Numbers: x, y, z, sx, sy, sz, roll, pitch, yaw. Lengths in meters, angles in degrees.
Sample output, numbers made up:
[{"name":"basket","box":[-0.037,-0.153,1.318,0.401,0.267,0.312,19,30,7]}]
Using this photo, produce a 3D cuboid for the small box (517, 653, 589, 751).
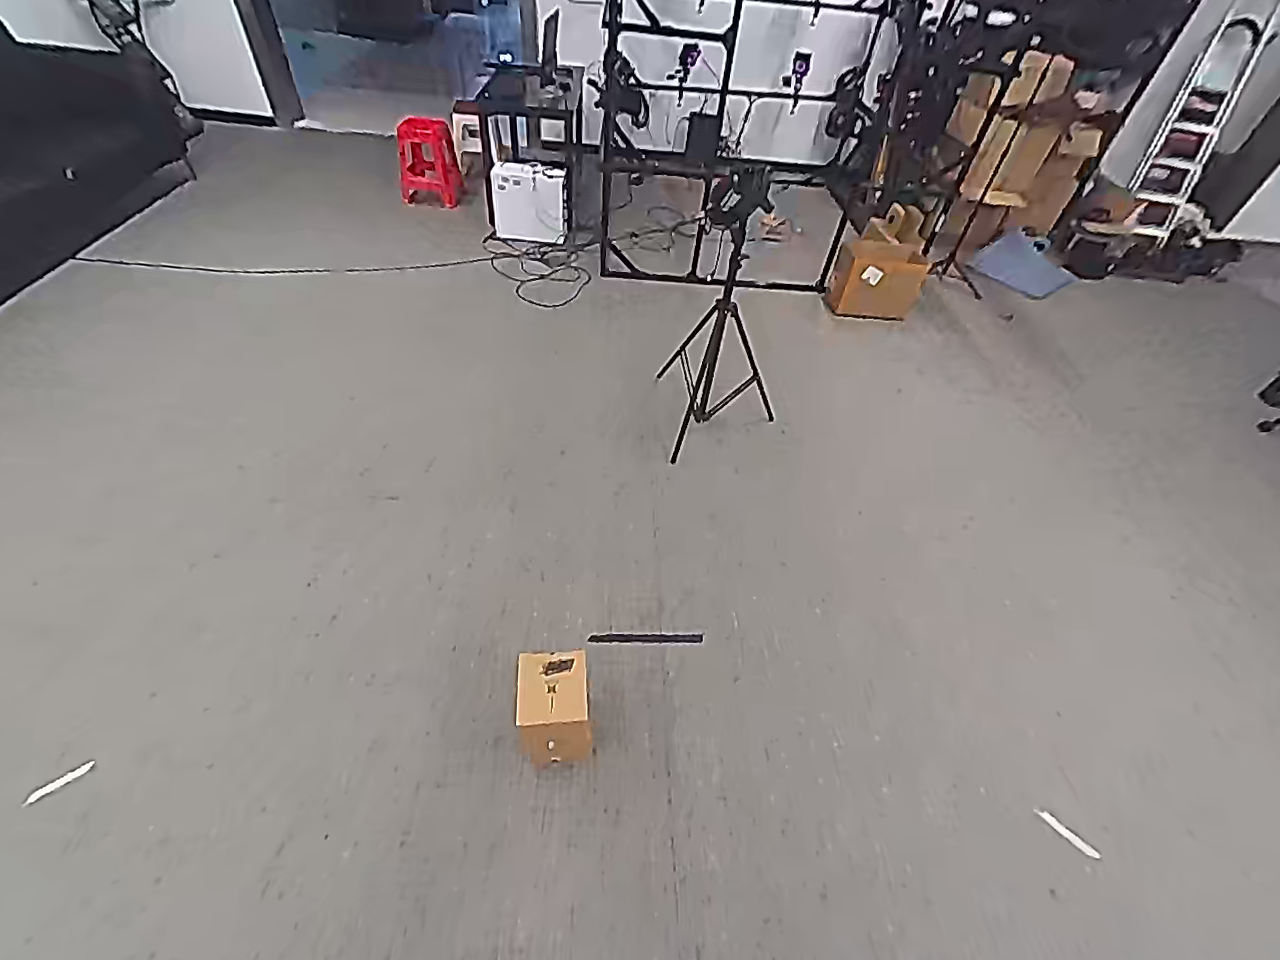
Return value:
[{"name":"small box","box":[-0.212,0.552,1.347,0.168,0.176,0.179,-1,48,-7]}]

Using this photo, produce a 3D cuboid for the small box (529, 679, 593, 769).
[{"name":"small box","box":[-0.218,0.661,1.470,0.168,0.176,0.179,-2,47,-8]}]
